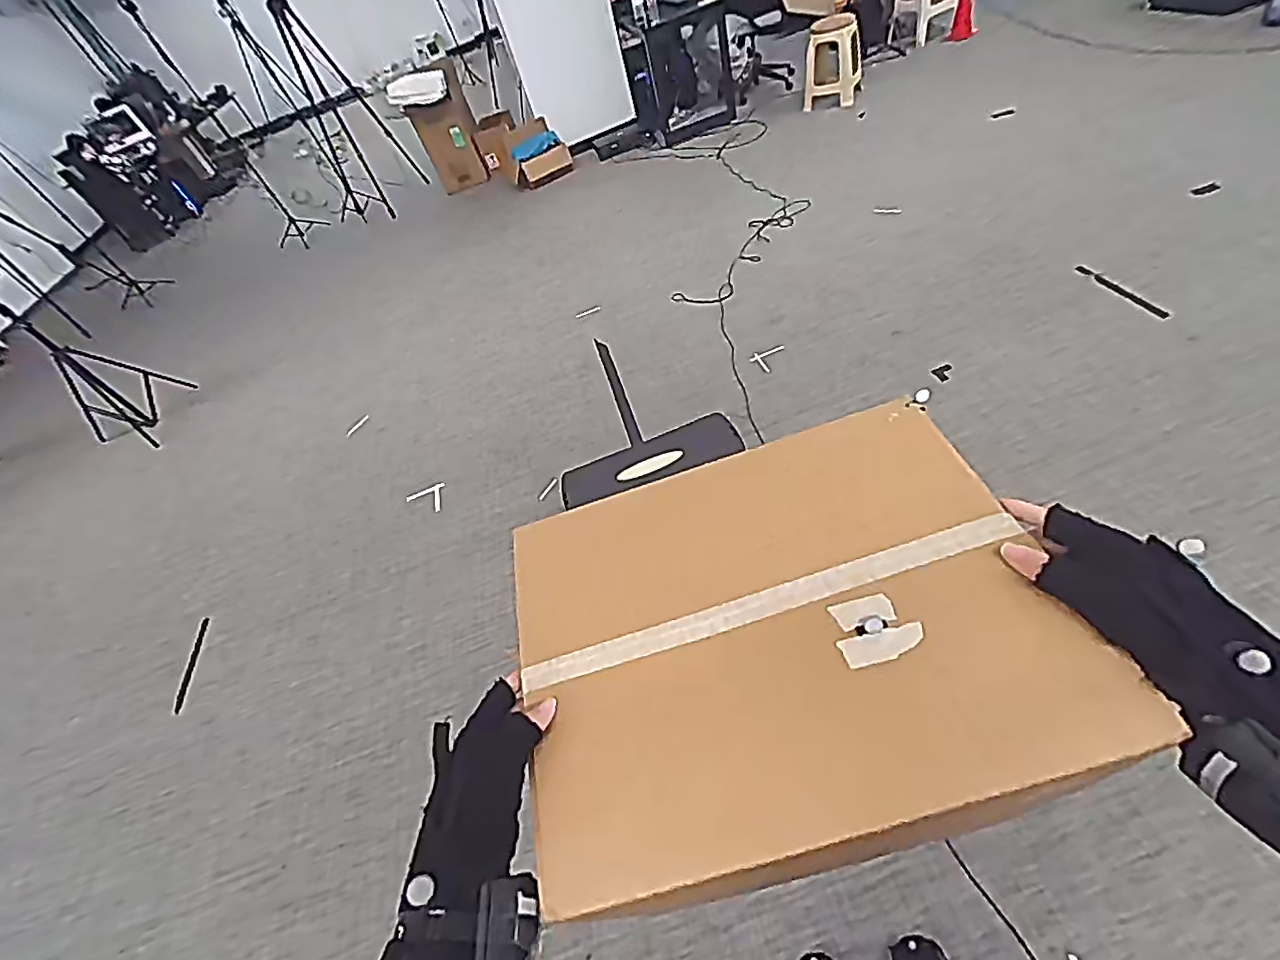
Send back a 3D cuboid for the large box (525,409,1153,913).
[{"bbox_3d":[0.137,0.195,0.551,0.408,0.320,0.320,-19,50,3],"label":"large box"}]
